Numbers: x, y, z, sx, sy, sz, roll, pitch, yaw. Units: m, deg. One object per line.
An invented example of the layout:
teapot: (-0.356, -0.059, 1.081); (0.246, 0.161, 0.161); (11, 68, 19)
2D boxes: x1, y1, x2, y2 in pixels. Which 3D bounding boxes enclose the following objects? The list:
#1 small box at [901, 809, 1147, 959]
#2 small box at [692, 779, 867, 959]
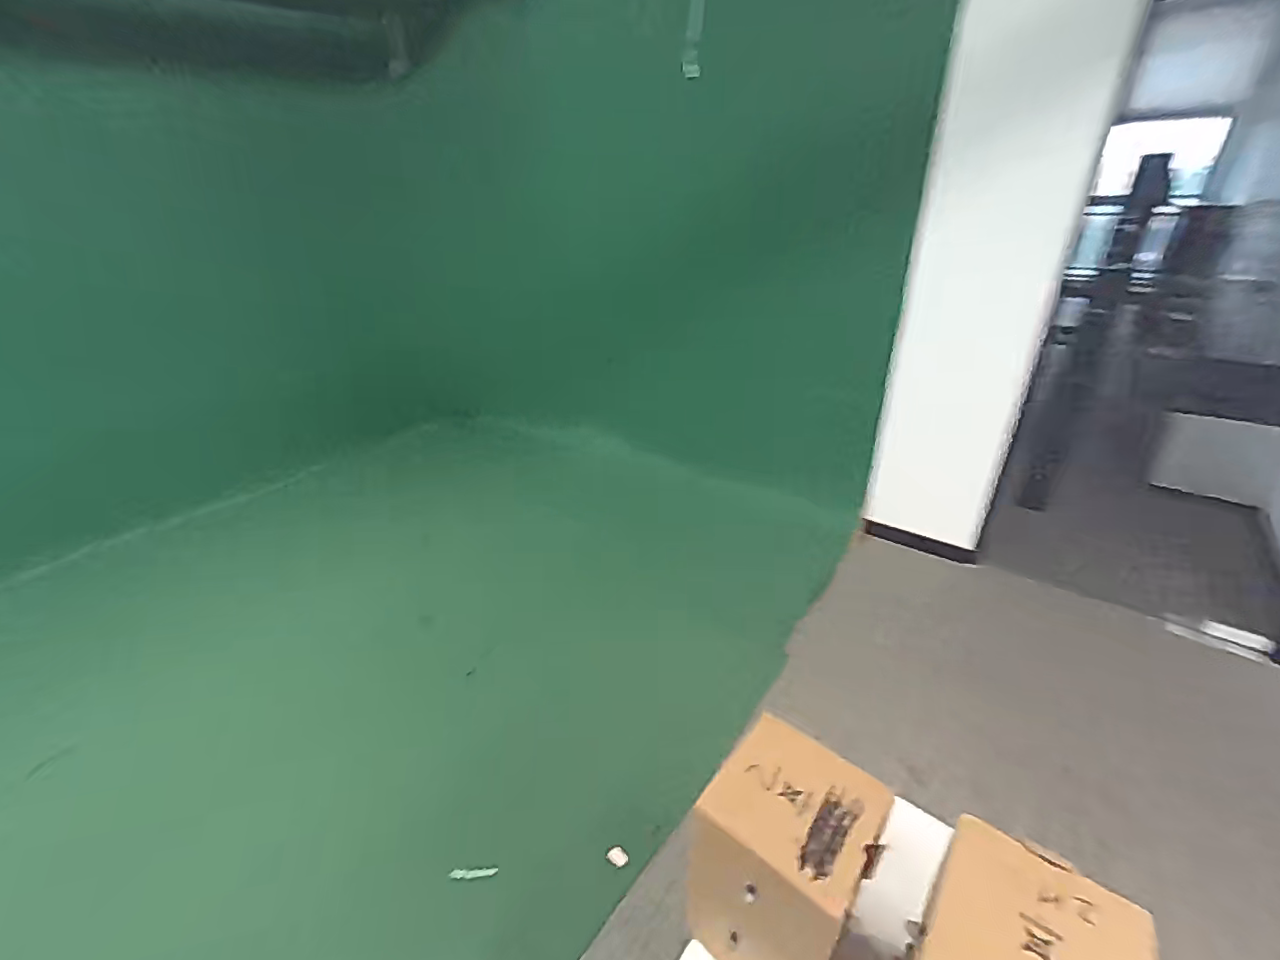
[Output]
small box: (0.375, 0.499, 0.549); (0.168, 0.176, 0.179); (20, 36, 34)
small box: (0.186, 0.578, 0.758); (0.179, 0.176, 0.168); (24, 39, 34)
